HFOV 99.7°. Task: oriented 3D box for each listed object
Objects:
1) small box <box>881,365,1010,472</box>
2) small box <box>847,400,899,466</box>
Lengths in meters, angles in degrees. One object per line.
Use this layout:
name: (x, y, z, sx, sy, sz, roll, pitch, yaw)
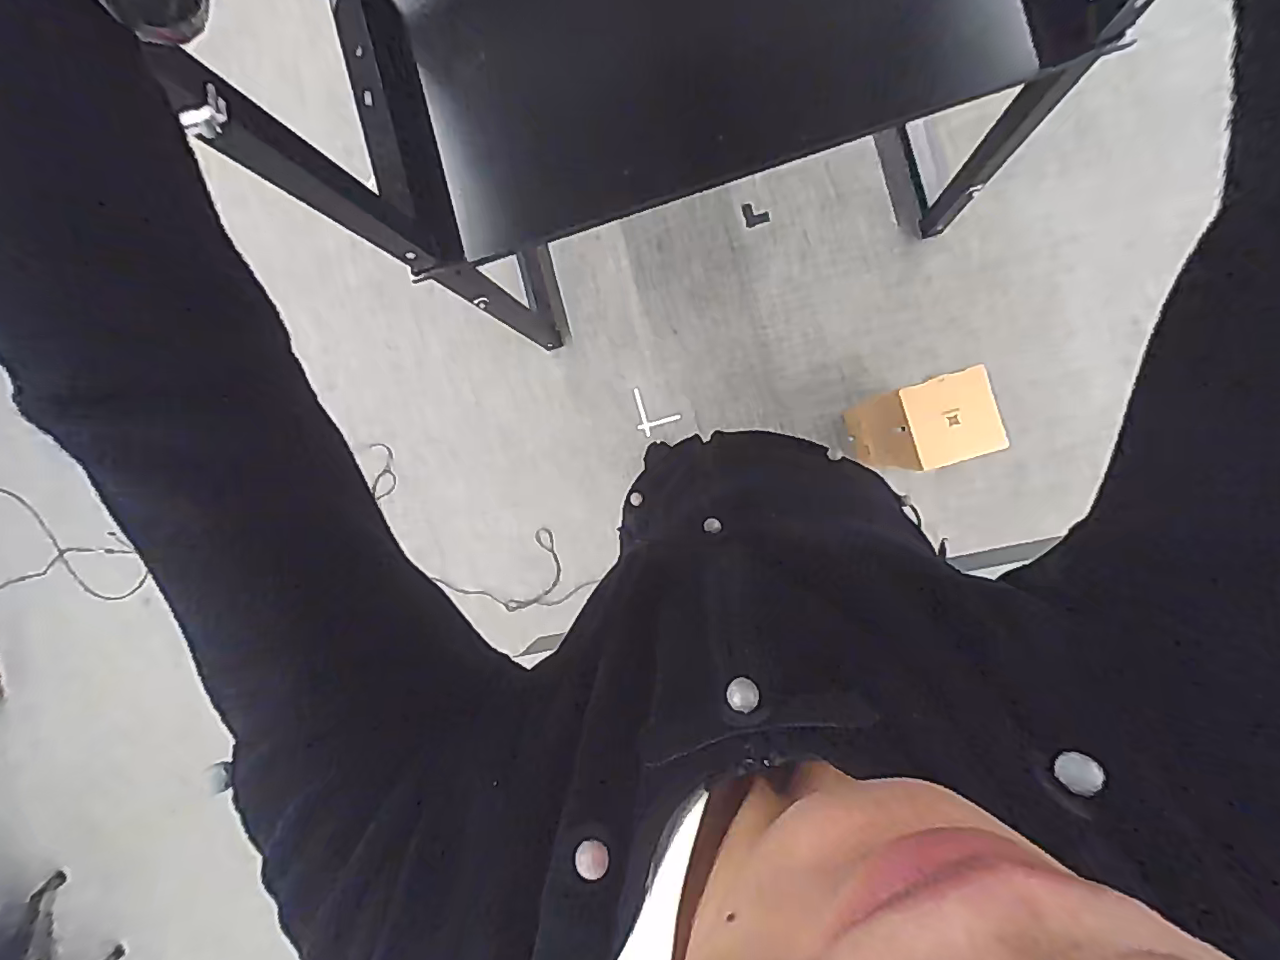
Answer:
small box: (0.635, -0.125, 1.144, 0.168, 0.176, 0.179, -18, 89, 10)
small box: (0.685, -0.140, 1.467, 0.179, 0.176, 0.168, -16, 89, 10)
